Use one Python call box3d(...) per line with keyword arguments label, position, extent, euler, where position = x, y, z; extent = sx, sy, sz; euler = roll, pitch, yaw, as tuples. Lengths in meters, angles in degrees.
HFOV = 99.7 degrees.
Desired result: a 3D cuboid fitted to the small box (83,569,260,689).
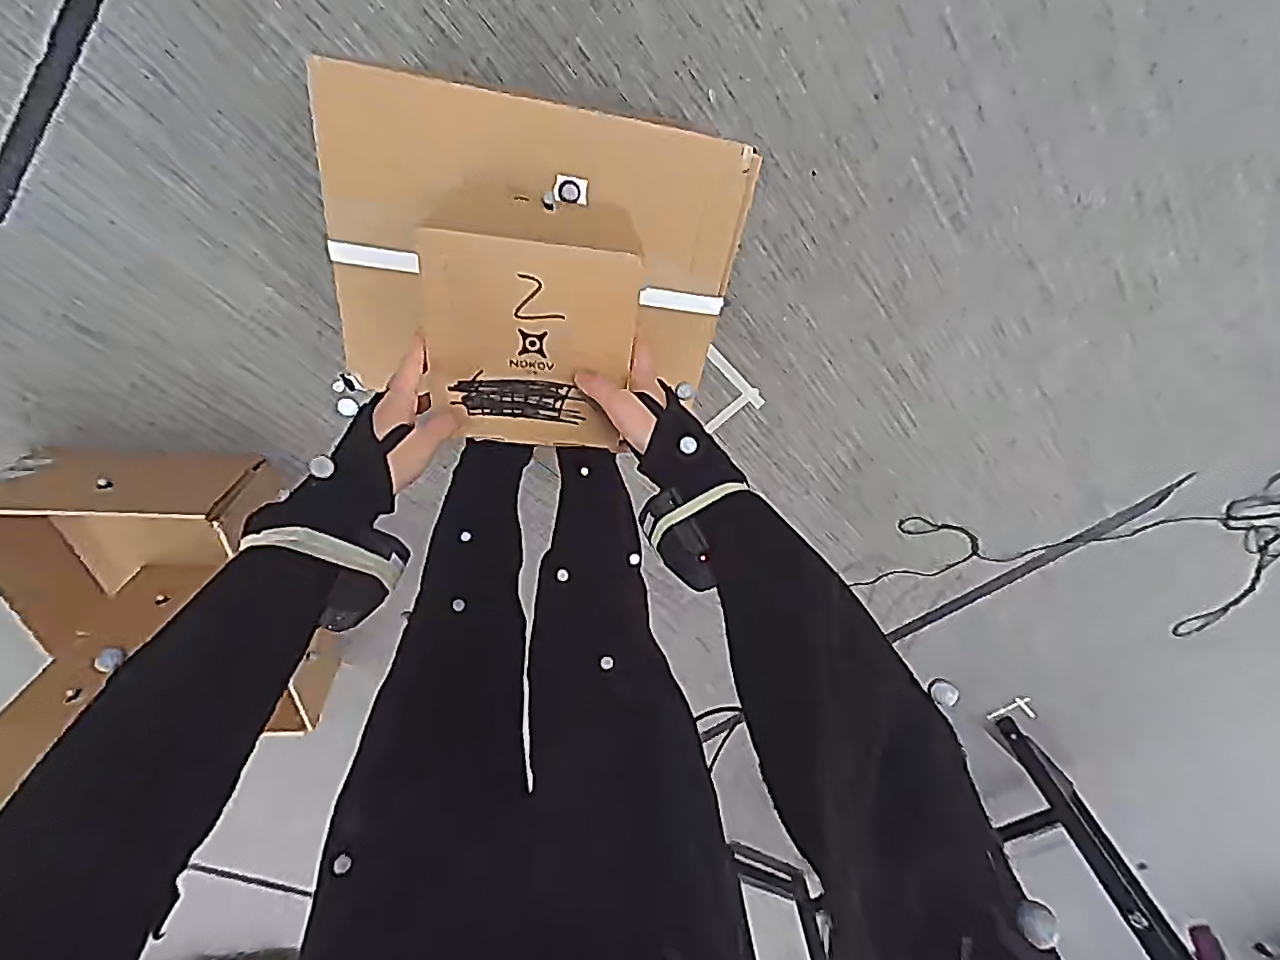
box3d(label="small box", position=(-0.894, 0.287, 1.054), extent=(0.179, 0.176, 0.168), euler=(1, 124, -7))
